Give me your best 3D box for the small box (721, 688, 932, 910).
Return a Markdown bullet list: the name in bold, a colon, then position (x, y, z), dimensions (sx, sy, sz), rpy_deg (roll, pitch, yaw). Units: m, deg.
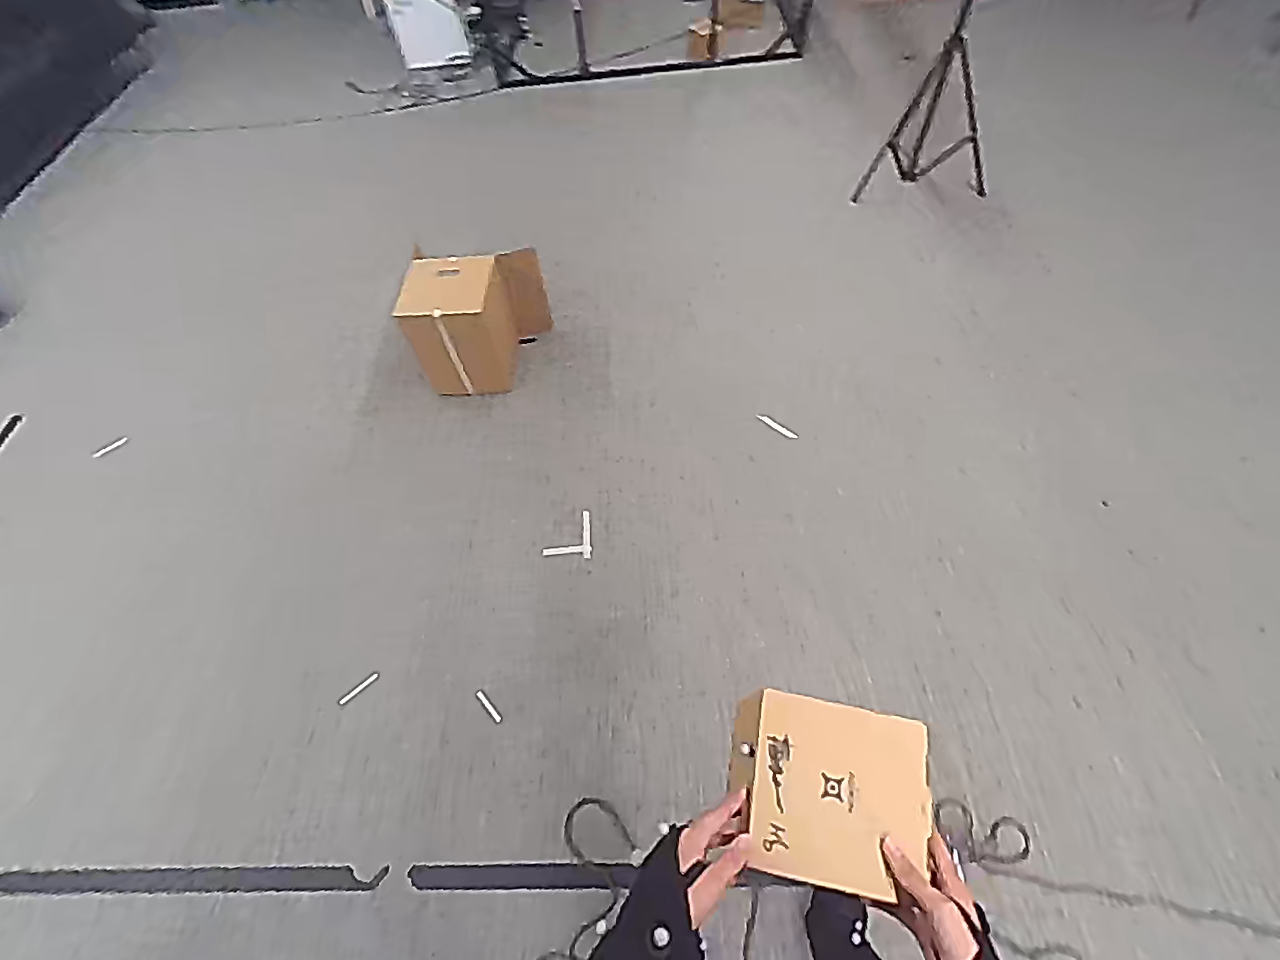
- **small box**: position (0.200, 0.344, 0.611), dimensions (0.179, 0.176, 0.168), rpy_deg (11, 64, 4)
